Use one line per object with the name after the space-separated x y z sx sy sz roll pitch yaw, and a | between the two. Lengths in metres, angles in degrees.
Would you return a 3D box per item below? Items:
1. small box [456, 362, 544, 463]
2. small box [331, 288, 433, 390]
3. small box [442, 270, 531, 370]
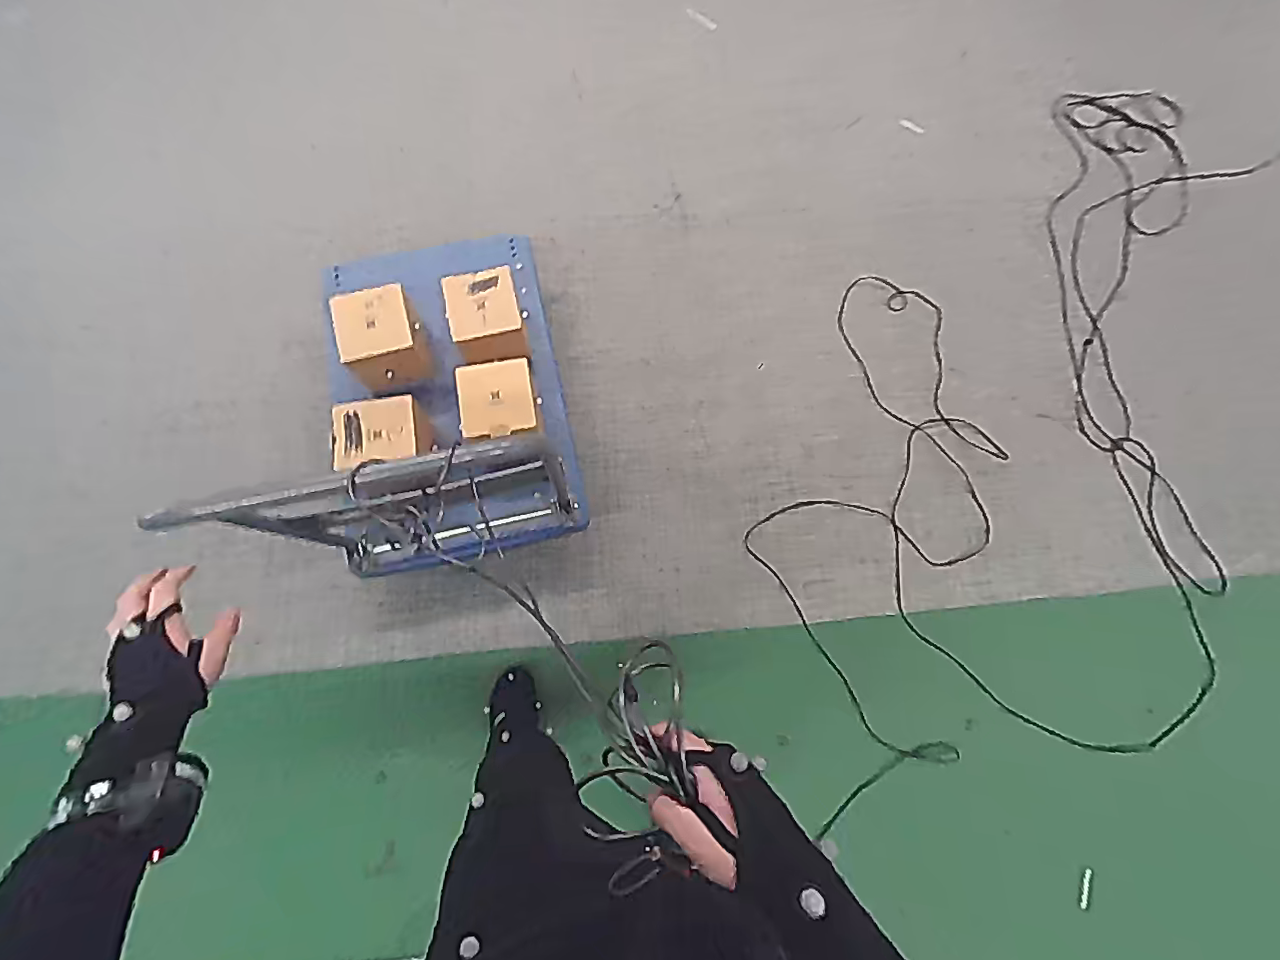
-0.332 -0.157 1.301 0.168 0.176 0.179 -10 75 -5 | small box
-0.630 -0.338 1.336 0.168 0.176 0.179 -15 76 -7 | small box
-0.381 -0.391 1.362 0.168 0.176 0.179 -14 76 -5 | small box
